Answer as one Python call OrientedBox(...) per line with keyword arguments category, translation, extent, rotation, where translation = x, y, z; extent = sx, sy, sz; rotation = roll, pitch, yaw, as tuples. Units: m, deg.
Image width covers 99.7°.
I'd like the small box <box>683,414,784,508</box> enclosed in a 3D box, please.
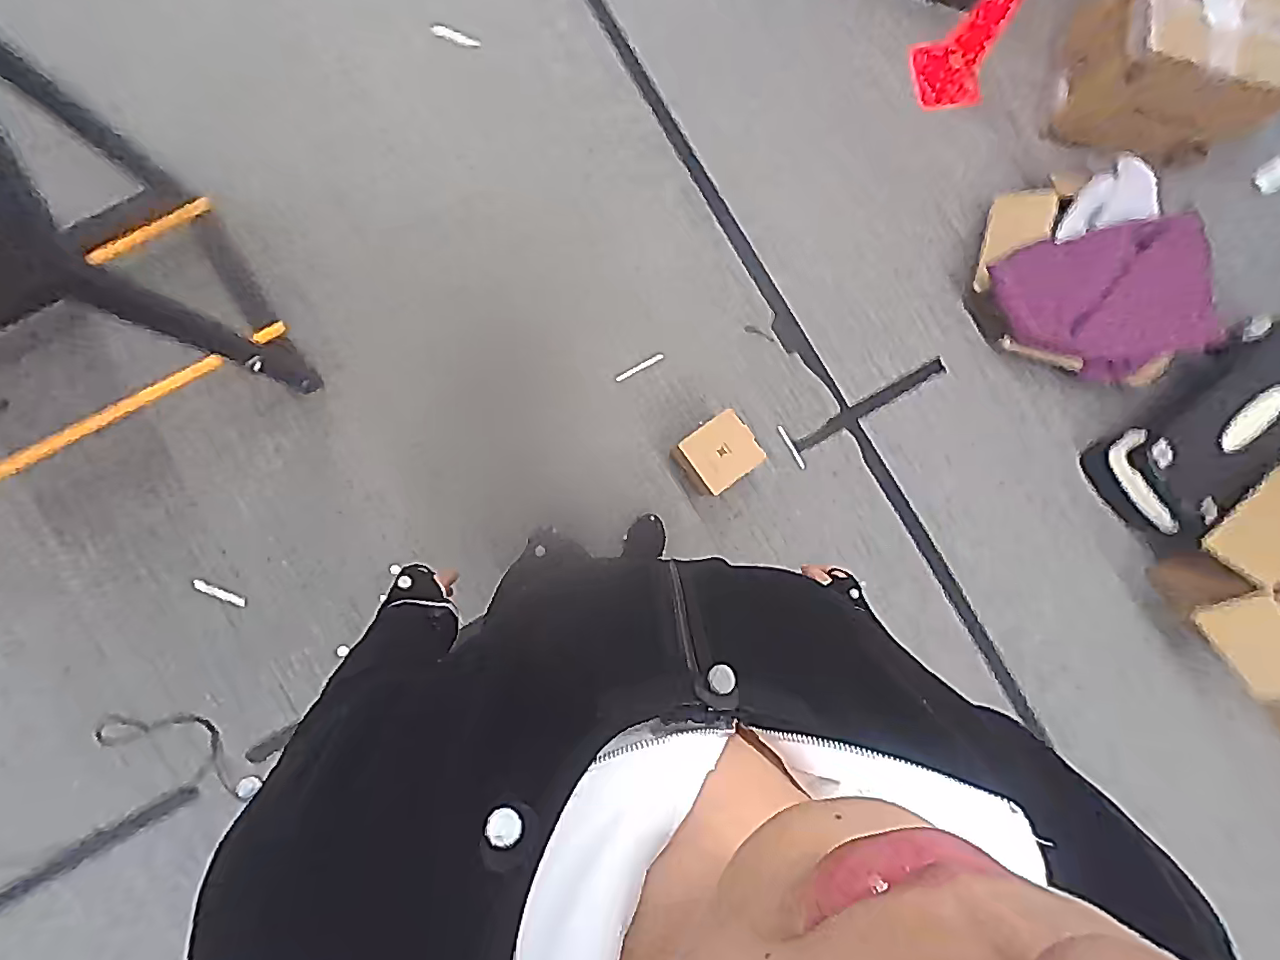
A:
OrientedBox(category="small box", translation=(0.230, -0.044, 1.381), extent=(0.179, 0.176, 0.168), rotation=(-37, 90, -4))
